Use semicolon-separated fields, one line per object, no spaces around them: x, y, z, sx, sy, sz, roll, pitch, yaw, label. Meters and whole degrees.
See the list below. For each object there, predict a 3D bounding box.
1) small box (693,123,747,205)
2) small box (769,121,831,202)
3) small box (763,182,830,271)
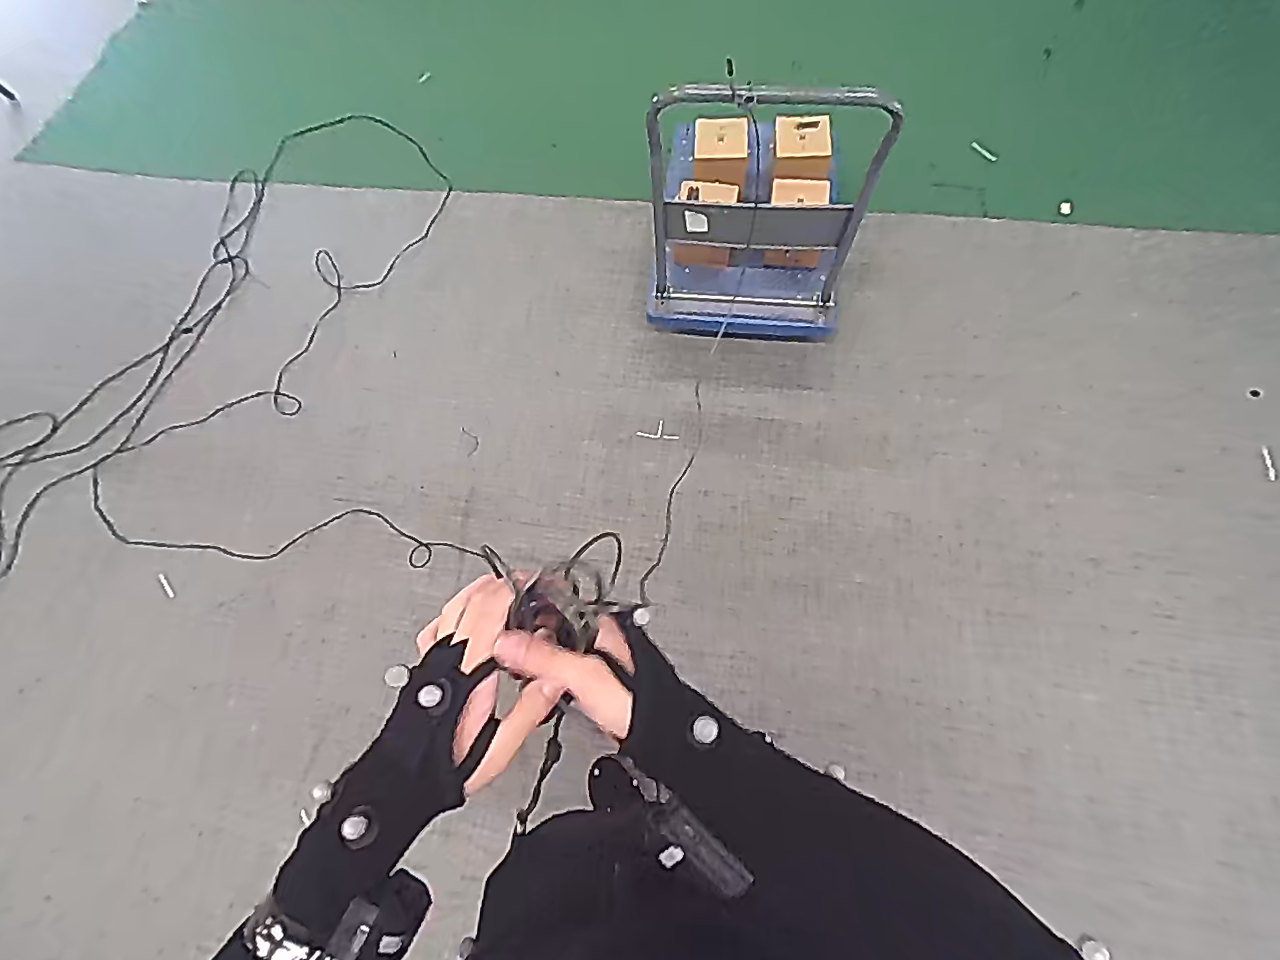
0.261;-1.028;1.771;0.168;0.176;0.179;2;69;5;small box
0.511;-1.021;1.746;0.168;0.176;0.179;2;69;6;small box
0.474;-0.771;1.650;0.168;0.176;0.179;7;70;7;small box
